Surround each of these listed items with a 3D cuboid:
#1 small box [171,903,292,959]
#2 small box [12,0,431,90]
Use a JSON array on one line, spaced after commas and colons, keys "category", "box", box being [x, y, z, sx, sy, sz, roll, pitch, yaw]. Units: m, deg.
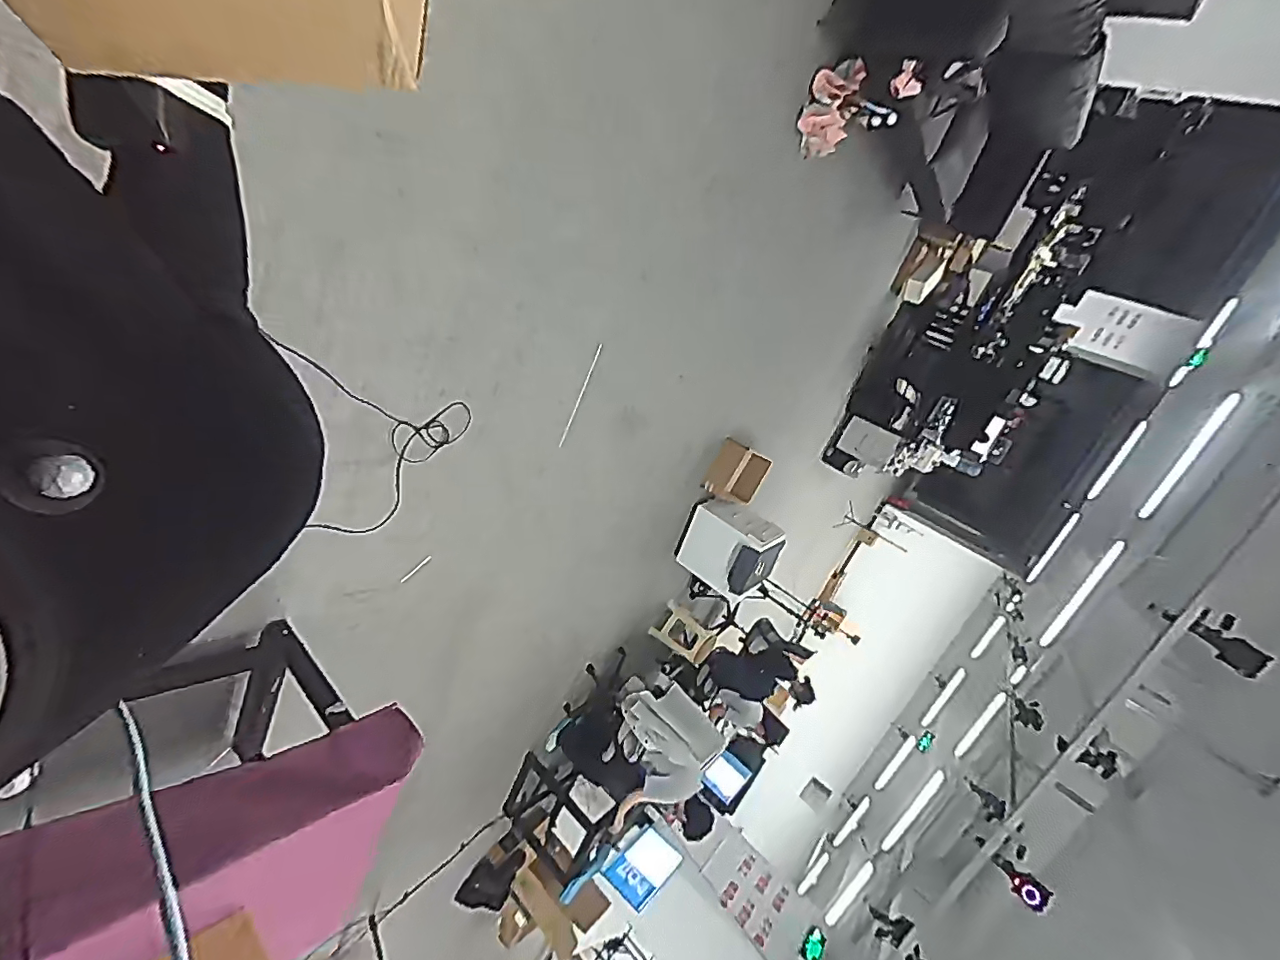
[{"category": "small box", "box": [-0.894, 1.085, 1.175, 0.179, 0.176, 0.168, -3, 122, -54]}, {"category": "small box", "box": [-0.187, -0.302, 0.211, 0.176, 0.168, 0.179, 105, -15, -74]}]
